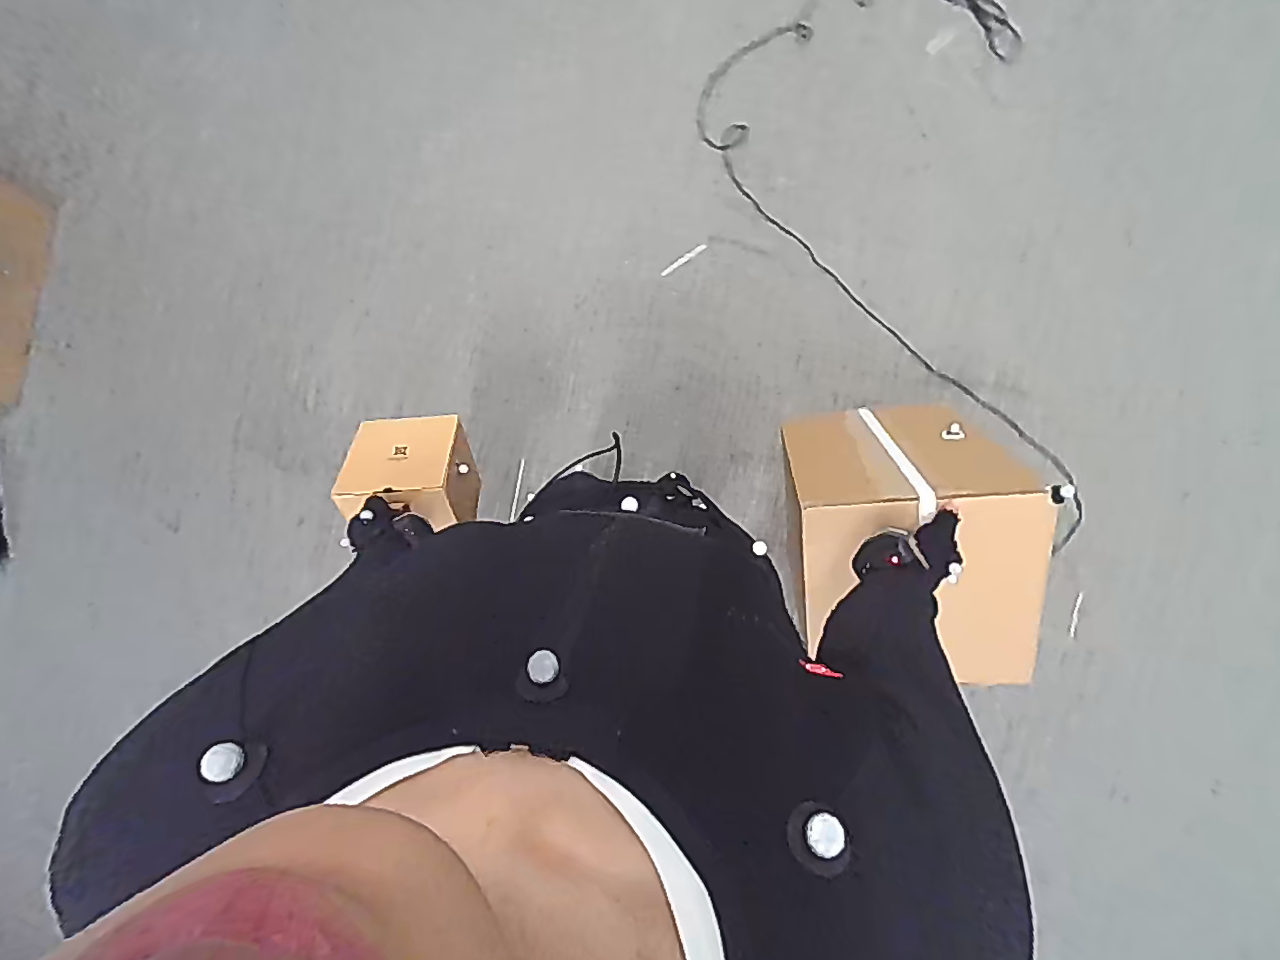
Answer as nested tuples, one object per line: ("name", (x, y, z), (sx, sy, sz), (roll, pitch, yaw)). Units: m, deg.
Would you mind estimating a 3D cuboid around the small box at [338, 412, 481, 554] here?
("small box", (-0.378, 0.005, 0.926), (0.168, 0.176, 0.179), (-4, 47, -2))
